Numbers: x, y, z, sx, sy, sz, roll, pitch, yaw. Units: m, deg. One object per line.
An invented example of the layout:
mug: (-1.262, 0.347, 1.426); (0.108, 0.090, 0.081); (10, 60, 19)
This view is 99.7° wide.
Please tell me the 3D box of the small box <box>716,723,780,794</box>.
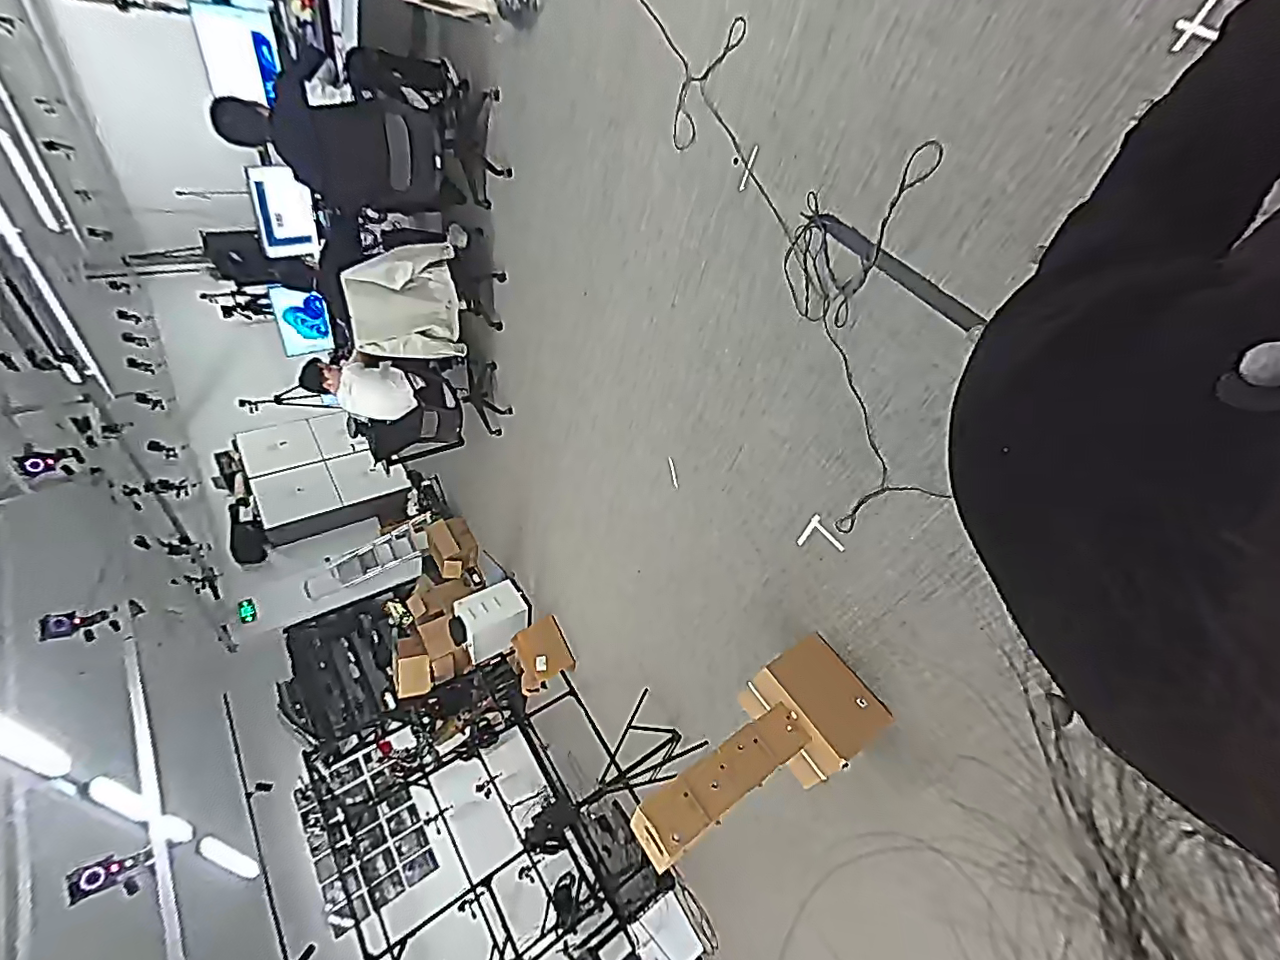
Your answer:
small box: (0.360, 0.982, 1.883); (0.168, 0.176, 0.179); (49, 143, 31)

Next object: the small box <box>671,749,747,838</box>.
small box: (0.231, 1.036, 1.796); (0.168, 0.176, 0.179); (47, 141, 34)

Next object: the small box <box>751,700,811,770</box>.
small box: (0.490, 0.941, 1.971); (0.168, 0.176, 0.179); (49, 142, 29)
